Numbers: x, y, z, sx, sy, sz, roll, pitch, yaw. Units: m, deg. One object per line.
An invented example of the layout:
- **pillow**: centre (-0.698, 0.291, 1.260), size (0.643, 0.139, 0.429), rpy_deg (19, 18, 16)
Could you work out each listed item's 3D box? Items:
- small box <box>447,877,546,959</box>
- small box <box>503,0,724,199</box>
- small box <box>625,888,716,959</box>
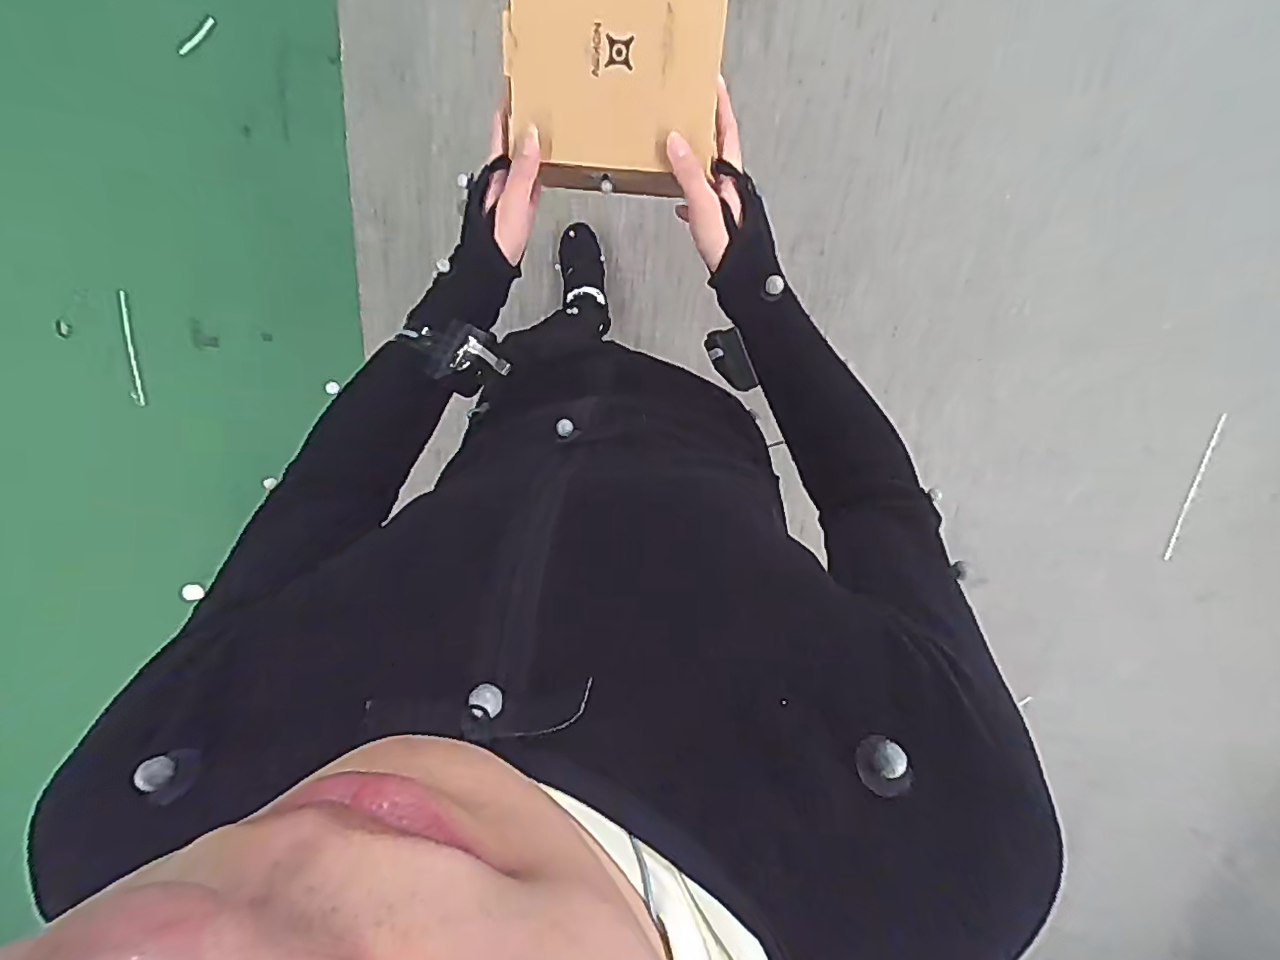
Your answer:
- **small box**: centre (-0.287, 0.956, 1.097), size (0.168, 0.176, 0.179), rpy_deg (6, 107, -3)
- **small box**: centre (-0.023, -0.372, 0.511), size (0.179, 0.176, 0.168), rpy_deg (4, 110, -1)
- **small box**: centre (0.058, 0.974, 1.105), size (0.179, 0.176, 0.168), rpy_deg (0, 108, 0)
